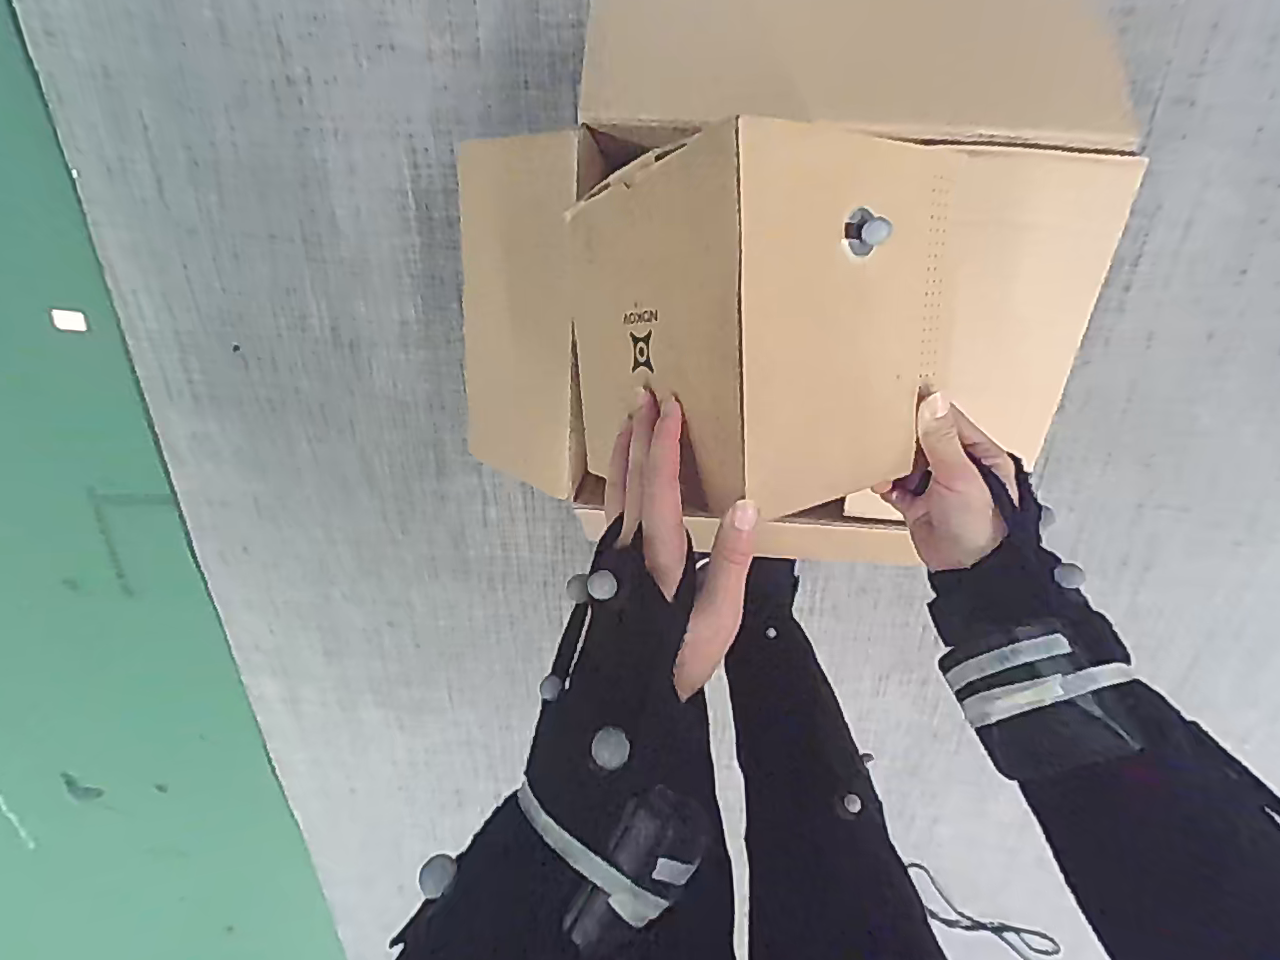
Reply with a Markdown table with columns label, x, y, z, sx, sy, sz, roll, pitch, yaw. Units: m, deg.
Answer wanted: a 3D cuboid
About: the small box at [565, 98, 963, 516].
| label | x | y | z | sx | sy | sz | roll | pitch | yaw |
| --- | --- | --- | --- | --- | --- | --- | --- | --- | --- |
| small box | 0.071 | -0.097 | 0.336 | 0.176 | 0.168 | 0.179 | -14 | 108 | -28 |
